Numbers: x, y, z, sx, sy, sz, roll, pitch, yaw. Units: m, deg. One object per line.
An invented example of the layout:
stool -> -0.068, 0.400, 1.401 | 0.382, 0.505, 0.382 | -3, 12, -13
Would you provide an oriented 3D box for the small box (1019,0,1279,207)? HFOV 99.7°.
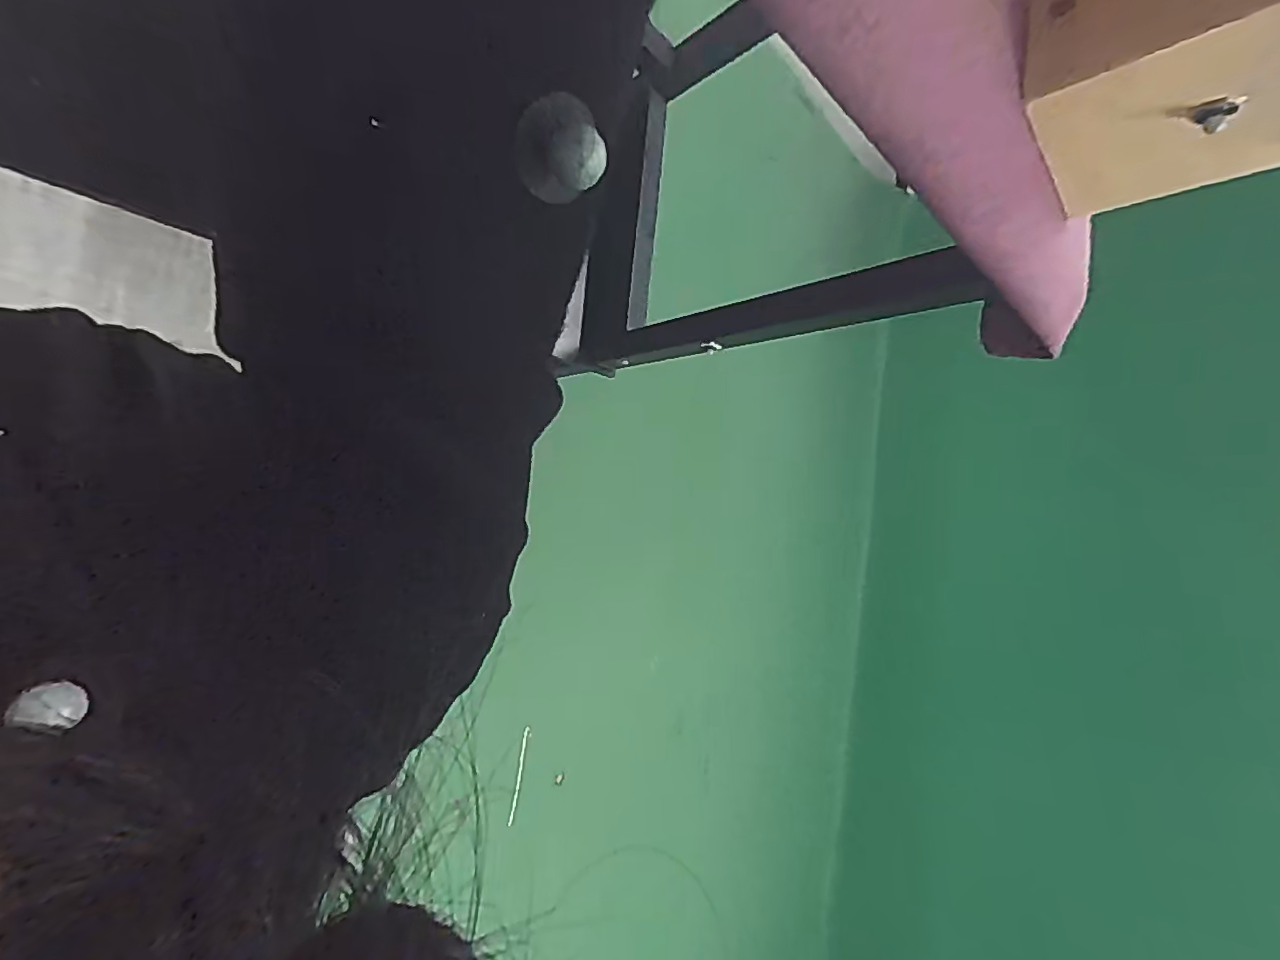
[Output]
small box -> 0.395, -0.324, 0.384 | 0.179, 0.176, 0.168 | 11, 84, -42
